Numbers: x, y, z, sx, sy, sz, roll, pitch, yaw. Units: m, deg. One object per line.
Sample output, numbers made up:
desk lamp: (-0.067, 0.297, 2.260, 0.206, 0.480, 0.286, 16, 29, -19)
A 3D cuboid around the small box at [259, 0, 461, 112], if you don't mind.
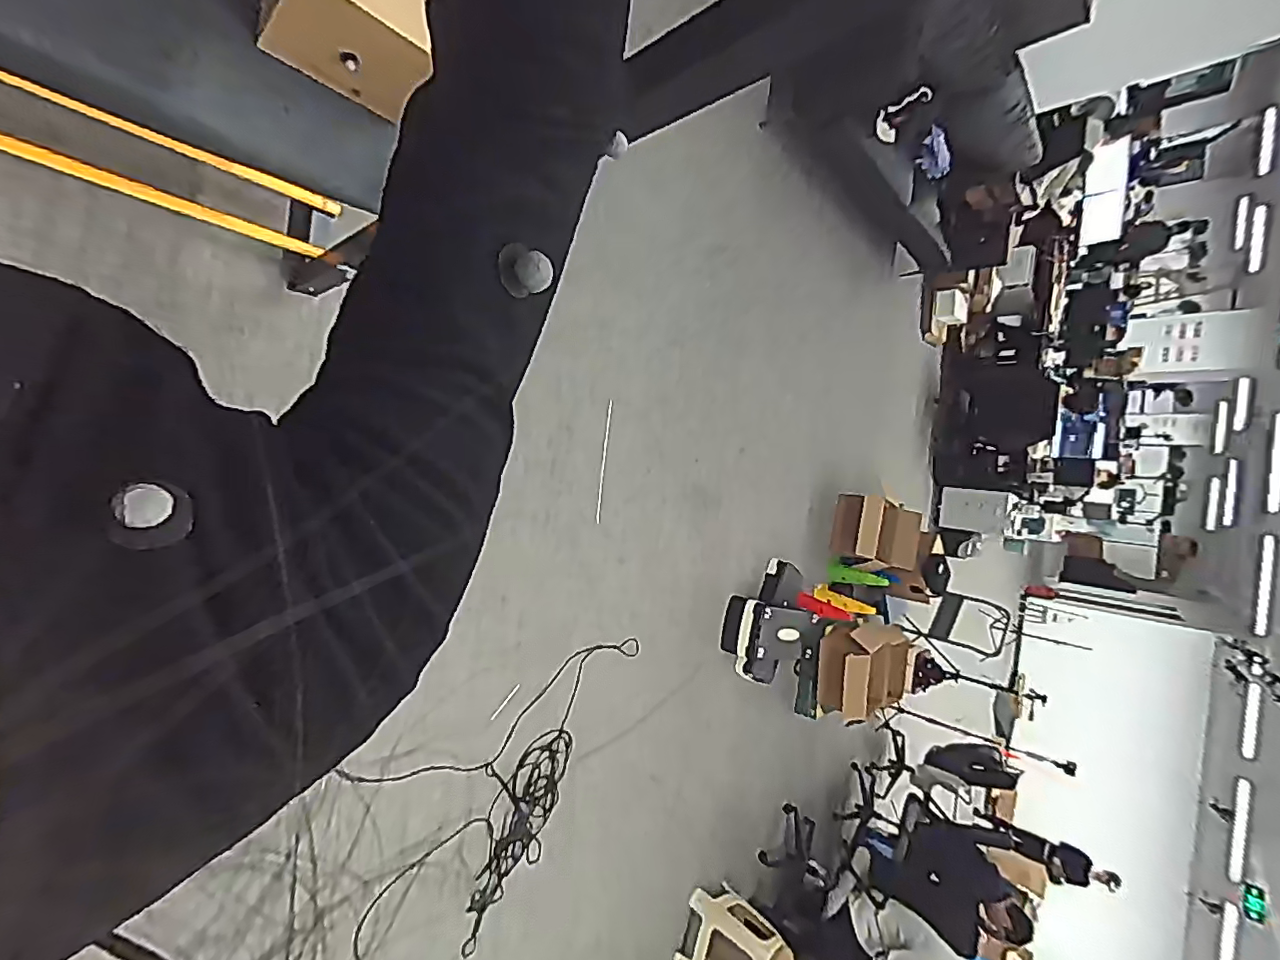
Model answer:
small box: (-0.325, -0.583, 0.633, 0.168, 0.176, 0.179, 7, 89, -48)
